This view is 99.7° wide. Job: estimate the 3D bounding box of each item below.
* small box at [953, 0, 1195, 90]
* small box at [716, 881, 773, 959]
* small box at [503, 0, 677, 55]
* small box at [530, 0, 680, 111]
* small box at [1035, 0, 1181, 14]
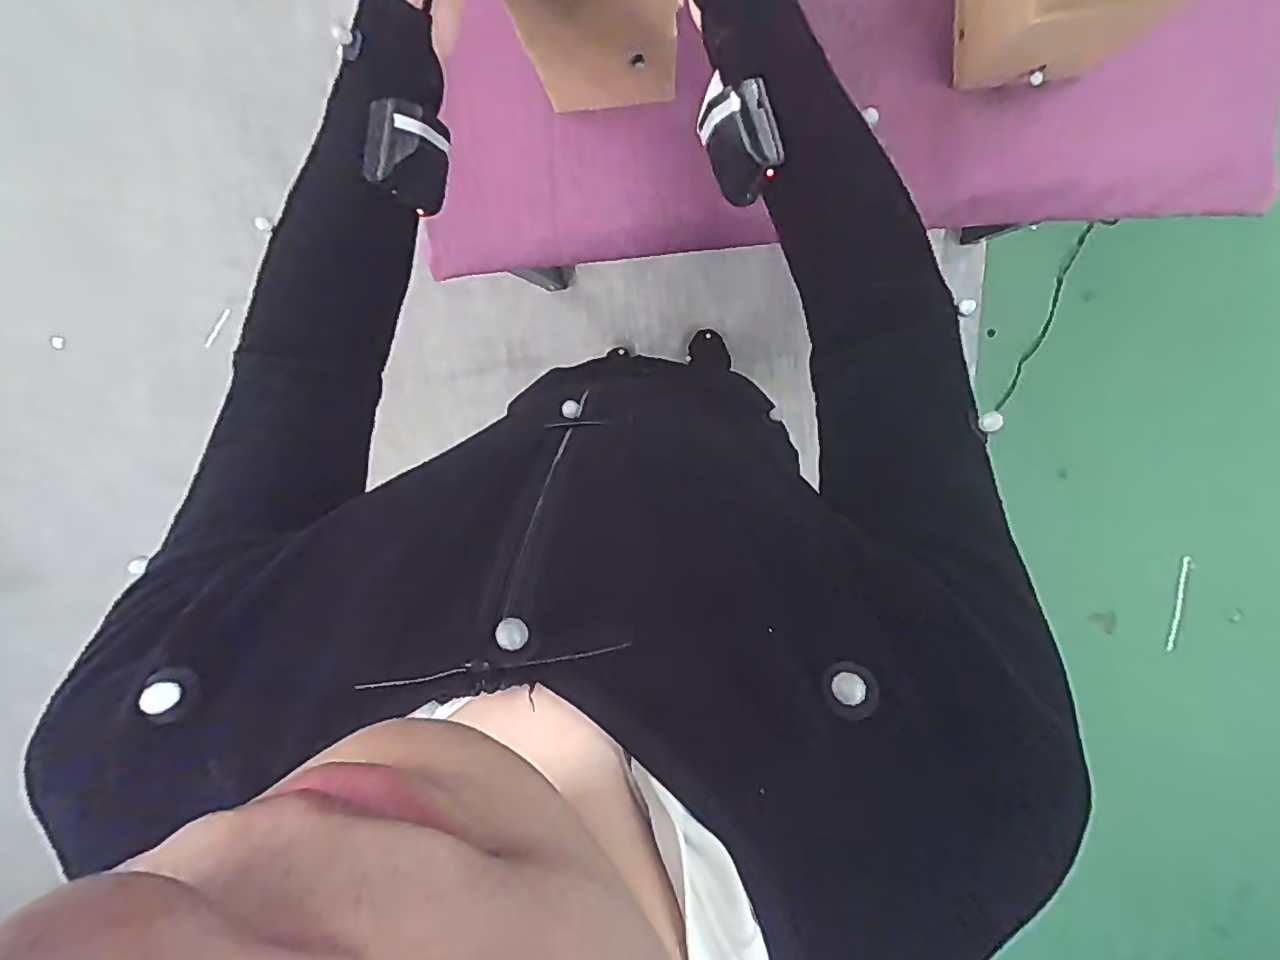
[{"bbox_3d":[0.511,-0.604,0.647,0.179,0.176,0.168,-4,103,5],"label":"small box"},{"bbox_3d":[0.367,1.572,1.923,0.179,0.176,0.168,2,104,4],"label":"small box"},{"bbox_3d":[-0.052,-0.558,0.530,0.179,0.176,0.168,-3,104,5],"label":"small box"},{"bbox_3d":[-0.043,-0.600,0.686,0.179,0.176,0.168,-3,103,4],"label":"small box"},{"bbox_3d":[0.500,-0.566,0.488,0.179,0.176,0.168,-3,104,5],"label":"small box"}]
